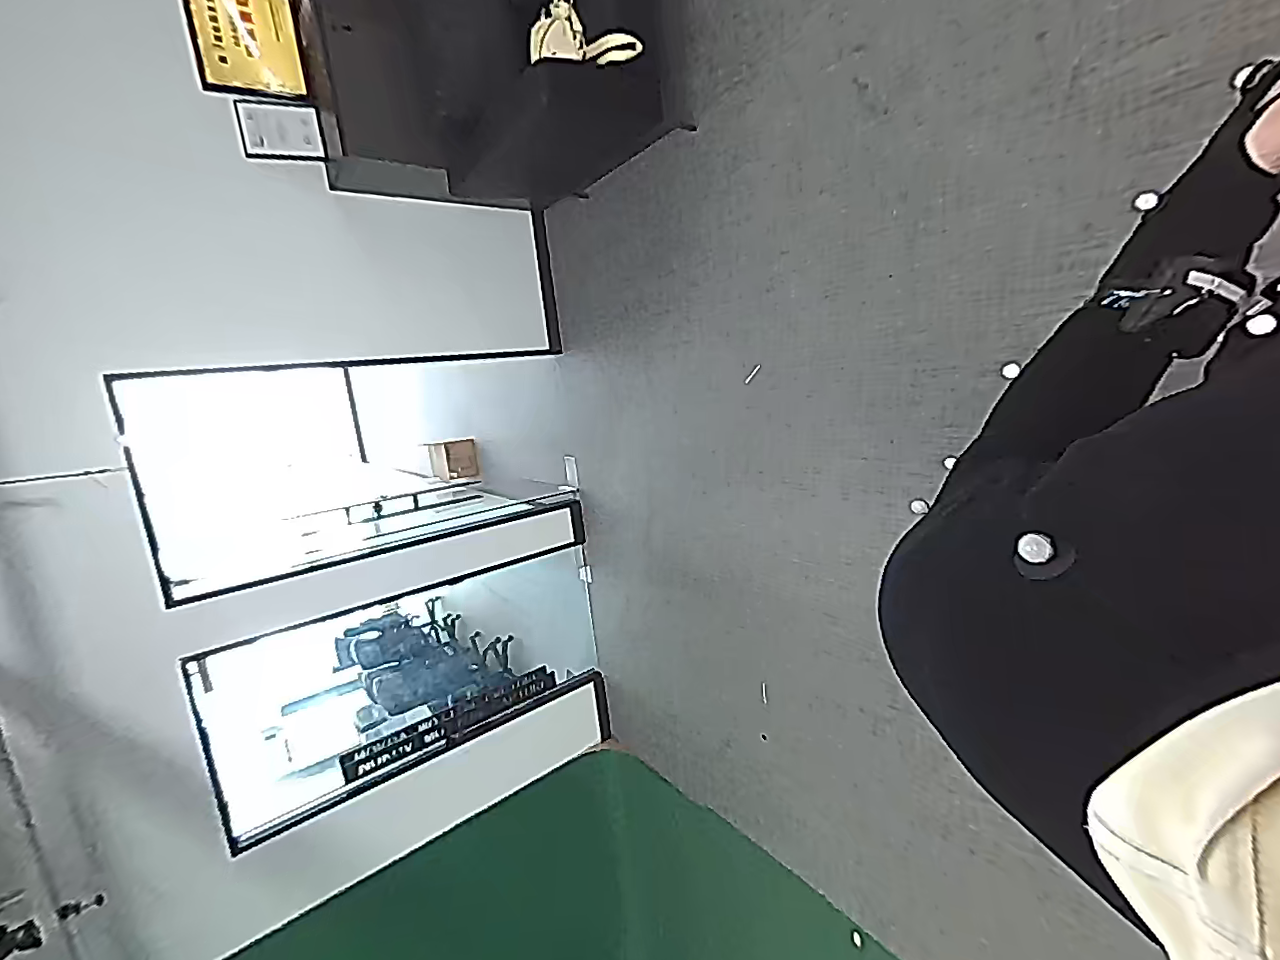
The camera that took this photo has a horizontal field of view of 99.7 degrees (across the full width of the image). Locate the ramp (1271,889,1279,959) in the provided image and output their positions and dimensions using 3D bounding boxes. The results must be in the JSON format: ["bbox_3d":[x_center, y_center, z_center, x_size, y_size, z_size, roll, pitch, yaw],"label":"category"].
[{"bbox_3d":[1.539,1.220,1.010,0.509,0.206,0.991,4,103,54],"label":"ramp"}]
